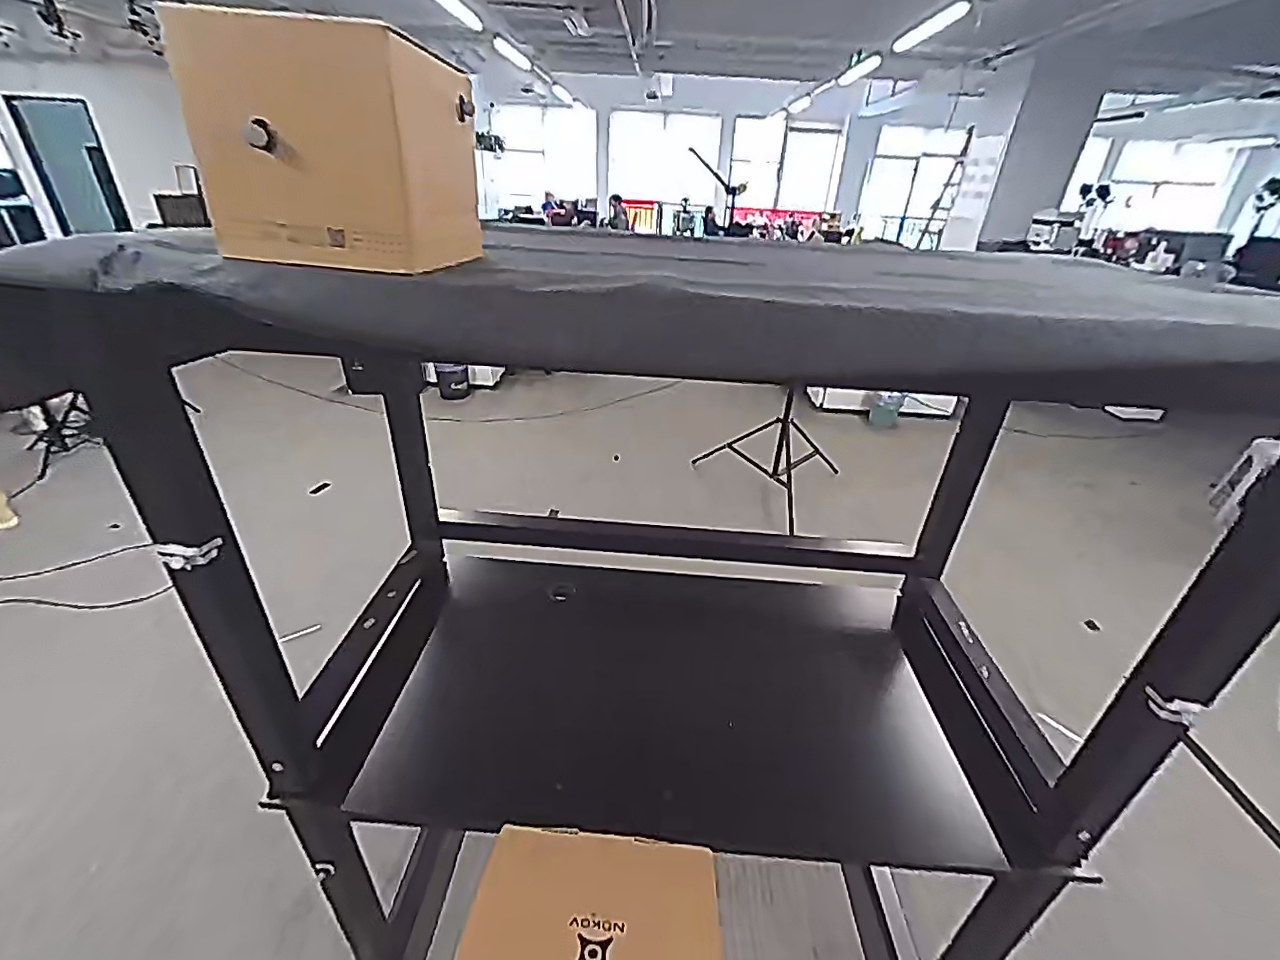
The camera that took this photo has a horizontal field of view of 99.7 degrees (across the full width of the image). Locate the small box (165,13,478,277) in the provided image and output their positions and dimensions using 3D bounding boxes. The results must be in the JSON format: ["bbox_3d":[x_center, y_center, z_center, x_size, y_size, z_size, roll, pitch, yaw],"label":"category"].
[{"bbox_3d":[-0.252,-0.282,0.484,0.168,0.176,0.179,5,26,1],"label":"small box"}]

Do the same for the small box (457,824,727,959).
[{"bbox_3d":[-0.035,0.368,0.346,0.168,0.176,0.179,5,10,1],"label":"small box"}]
